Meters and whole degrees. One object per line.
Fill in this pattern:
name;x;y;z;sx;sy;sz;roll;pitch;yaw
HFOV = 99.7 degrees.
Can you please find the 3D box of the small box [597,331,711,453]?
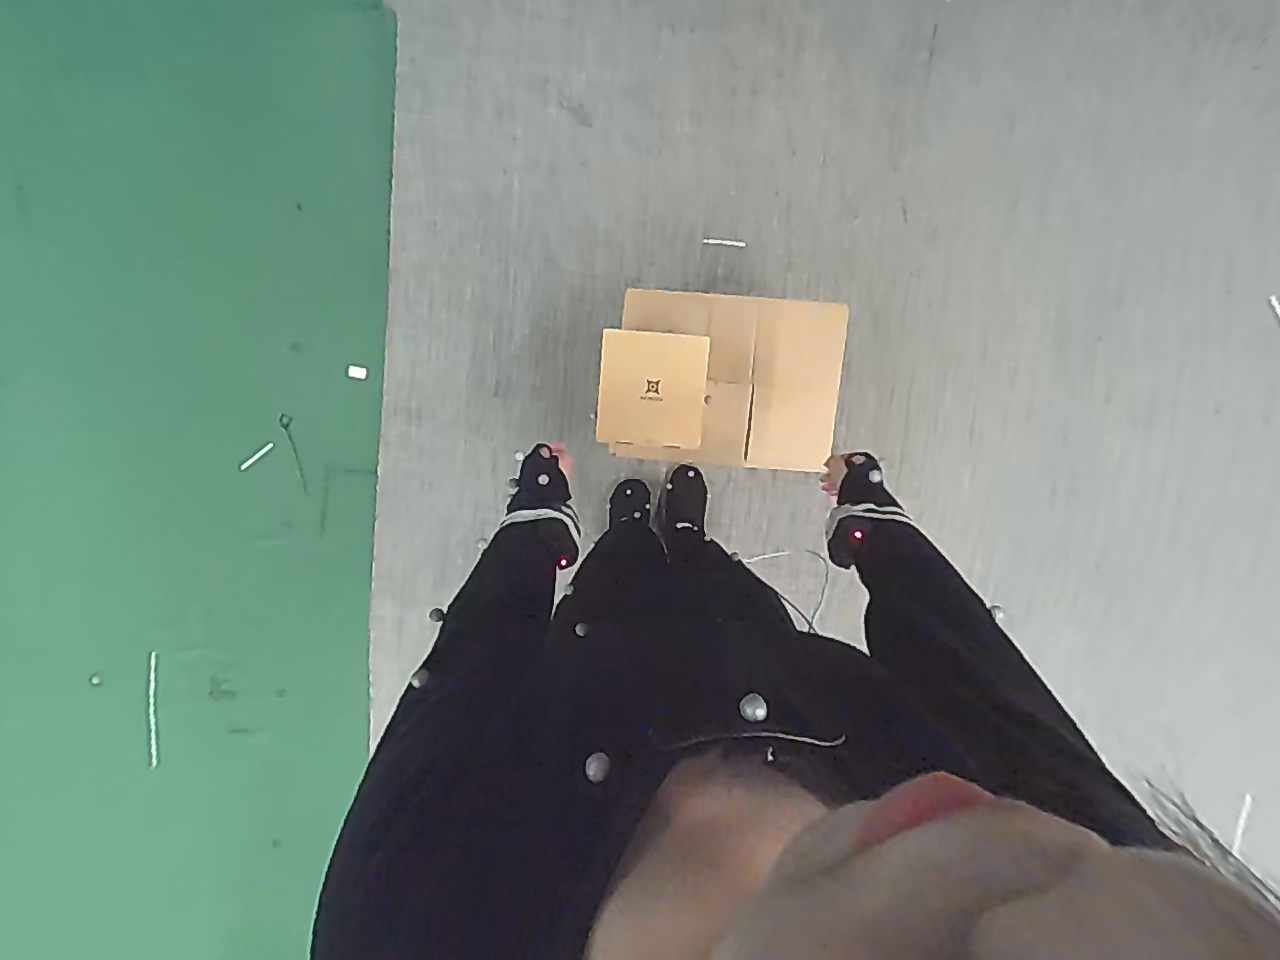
small box;0.020;-0.146;0.909;0.168;0.176;0.179;5;99;0
